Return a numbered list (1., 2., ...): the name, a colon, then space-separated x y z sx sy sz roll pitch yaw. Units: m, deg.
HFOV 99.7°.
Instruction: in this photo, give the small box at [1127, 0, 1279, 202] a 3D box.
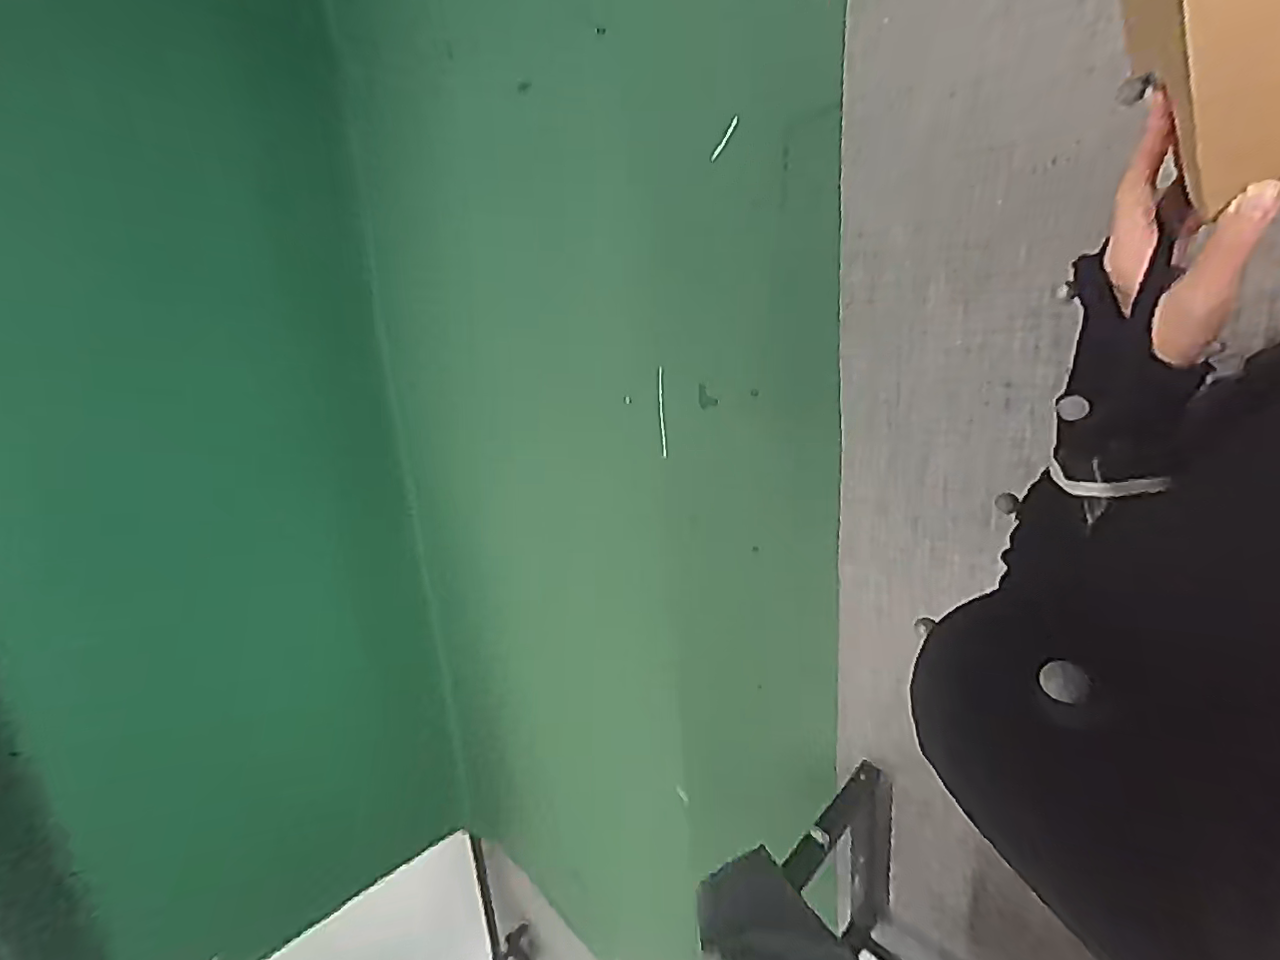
1. small box: 0.301 -0.259 0.203 0.168 0.176 0.179 -17 133 42
